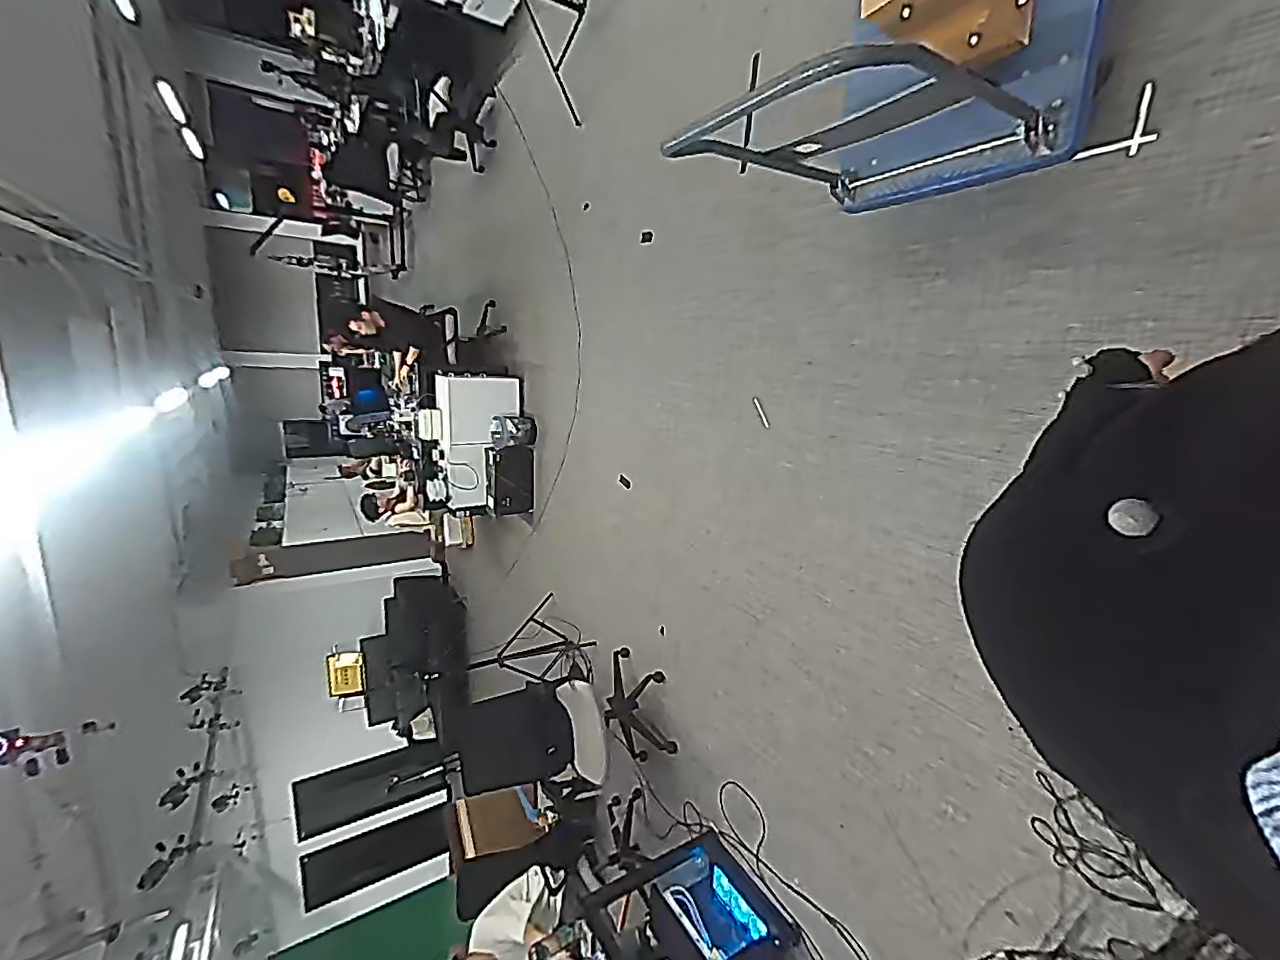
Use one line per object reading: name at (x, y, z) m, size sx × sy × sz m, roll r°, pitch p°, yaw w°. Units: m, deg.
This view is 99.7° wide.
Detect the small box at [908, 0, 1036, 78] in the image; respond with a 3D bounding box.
small box at (0.710, -1.006, 1.155) m, size 0.179 × 0.176 × 0.168 m, roll 15°, pitch 107°, yaw 56°

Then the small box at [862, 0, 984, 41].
small box at (0.571, -1.019, 1.064) m, size 0.179 × 0.176 × 0.168 m, roll 16°, pitch 108°, yaw 56°
